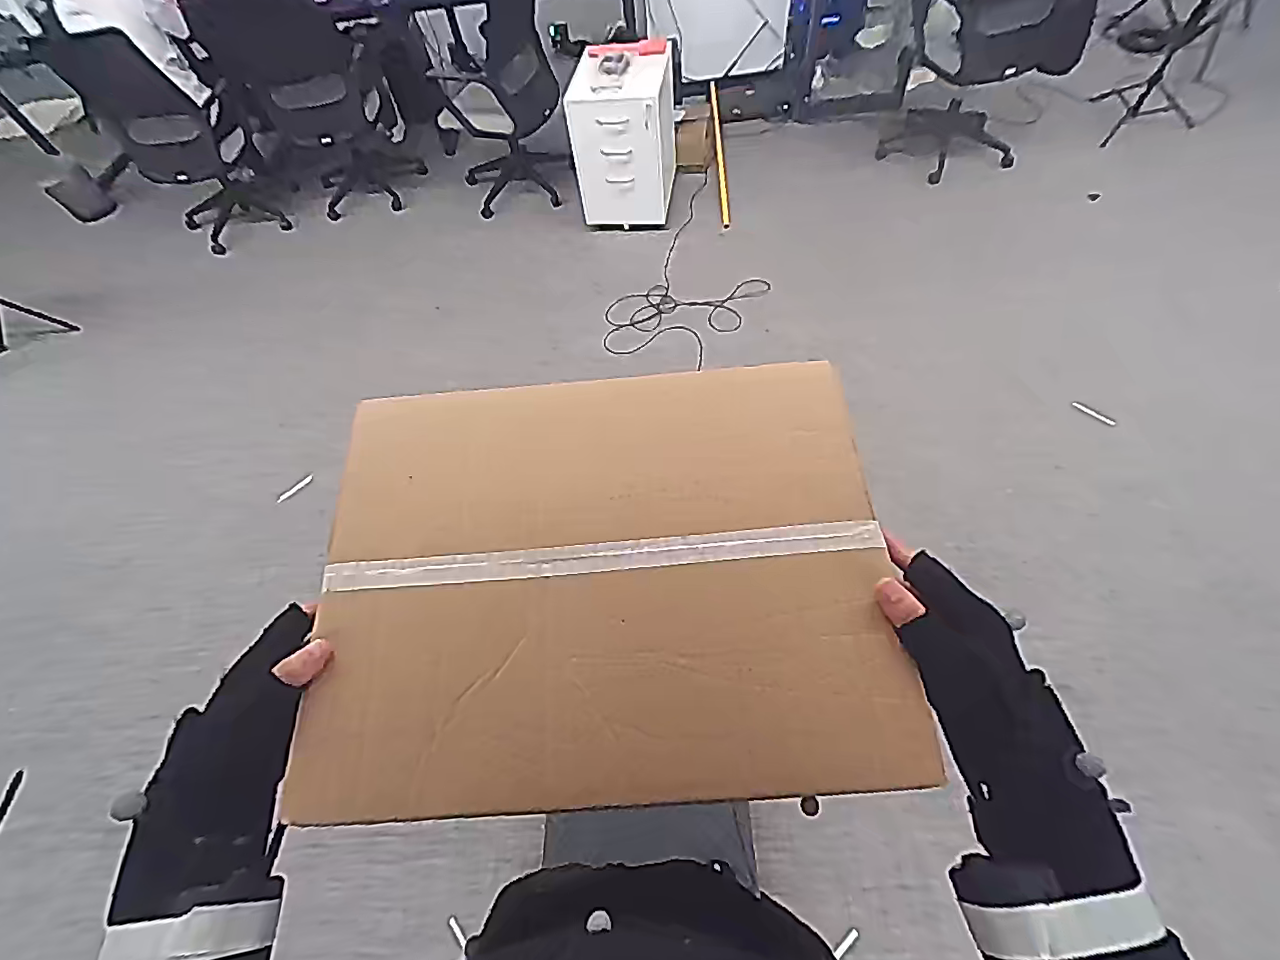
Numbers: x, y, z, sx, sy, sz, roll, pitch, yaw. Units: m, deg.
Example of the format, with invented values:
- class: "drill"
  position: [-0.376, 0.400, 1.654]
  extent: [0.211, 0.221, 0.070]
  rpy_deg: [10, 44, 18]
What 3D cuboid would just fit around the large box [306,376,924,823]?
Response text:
- class: "large box"
  position: [-0.018, 0.126, 0.538]
  extent: [0.408, 0.320, 0.320]
  rpy_deg: [-4, 64, 1]
